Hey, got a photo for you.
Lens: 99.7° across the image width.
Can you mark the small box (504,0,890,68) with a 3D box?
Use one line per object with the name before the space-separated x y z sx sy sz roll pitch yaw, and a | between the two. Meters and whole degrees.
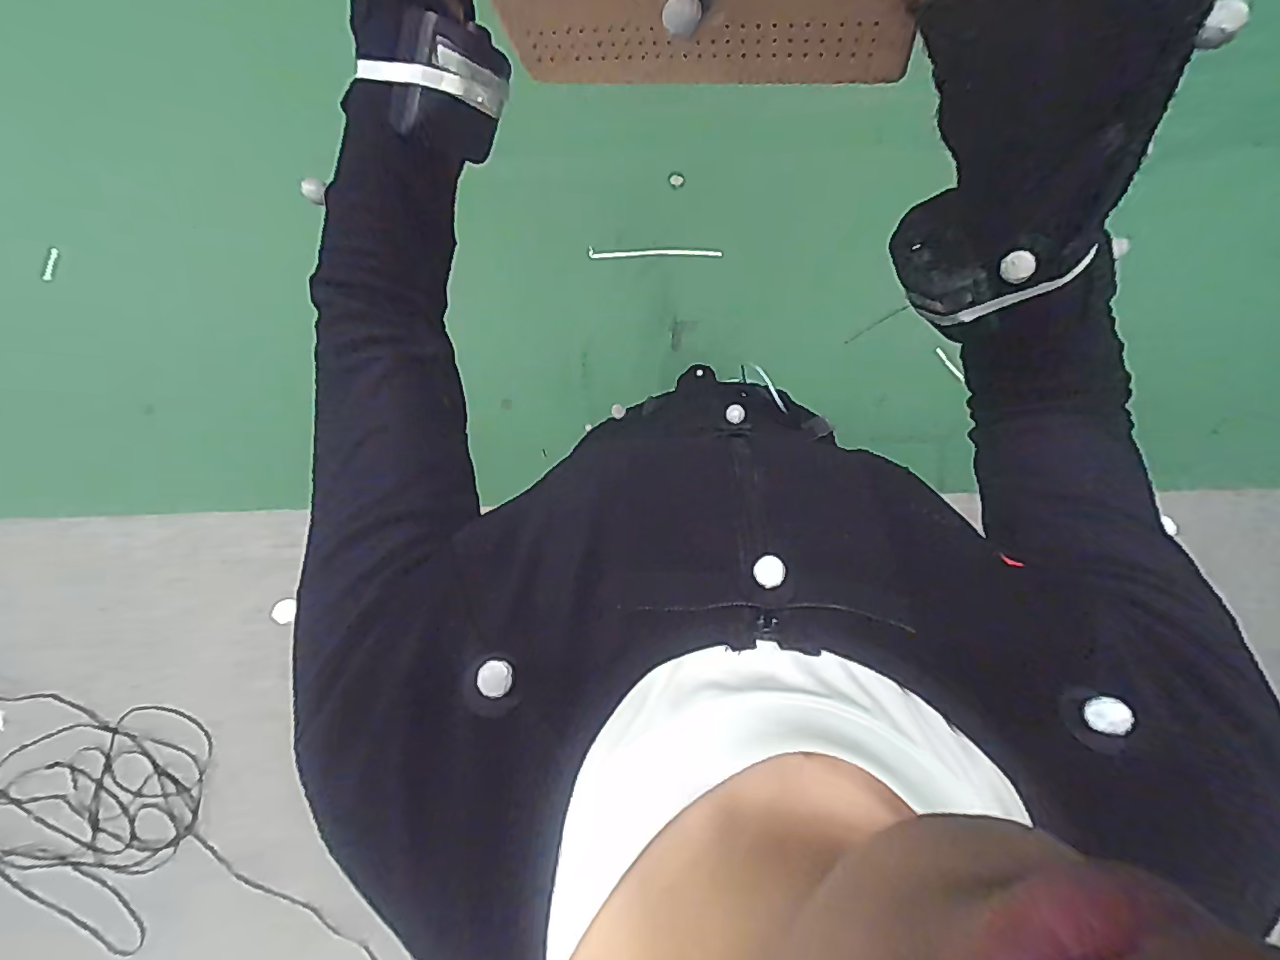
small box | 0.026 -0.283 0.185 0.179 0.176 0.168 11 84 14
